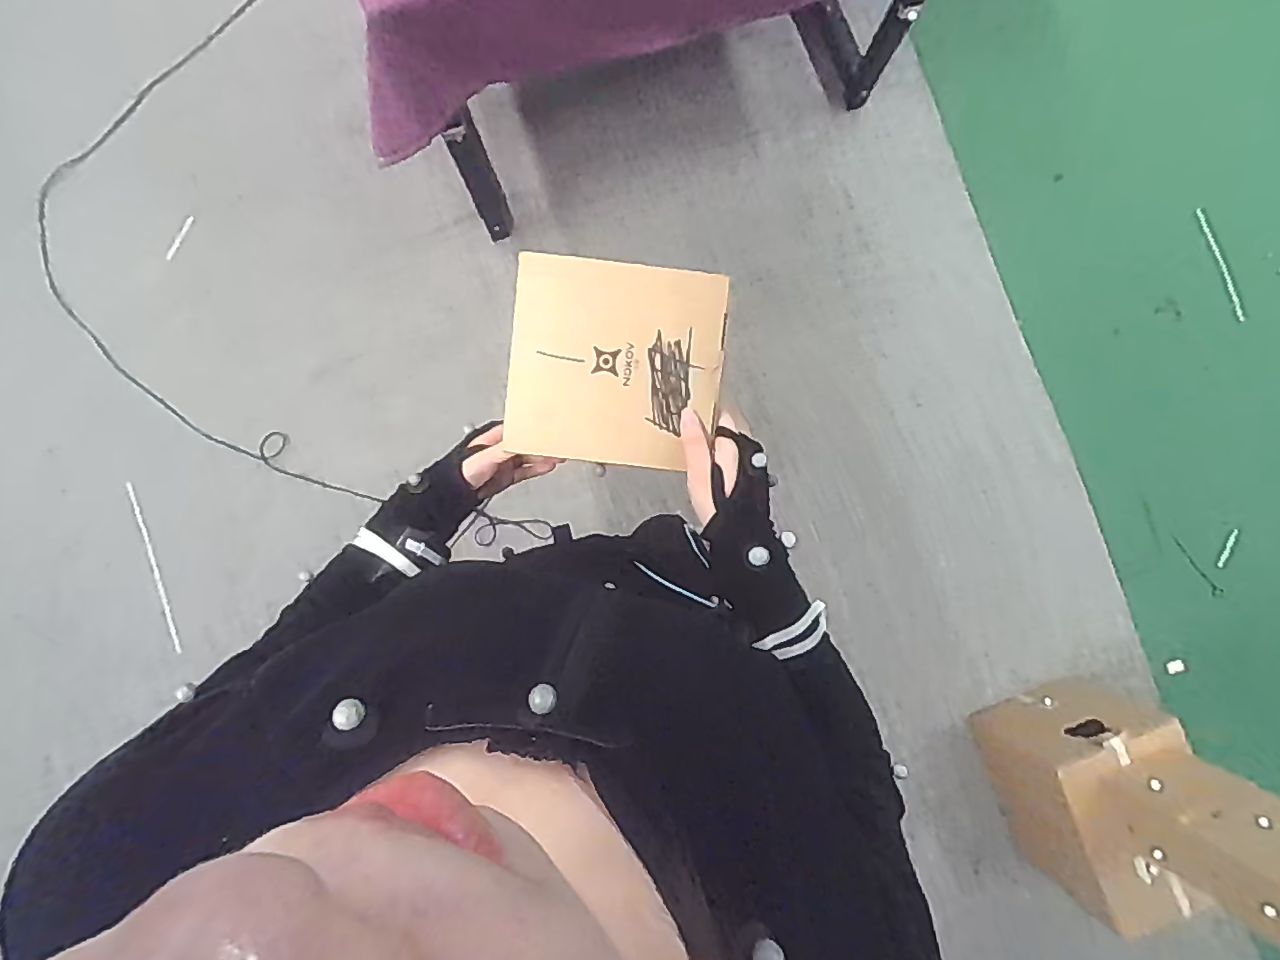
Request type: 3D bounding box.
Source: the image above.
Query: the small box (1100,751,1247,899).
[{"bbox_3d":[1.111,0.701,1.119,0.179,0.176,0.168,-21,88,-4],"label":"small box"}]

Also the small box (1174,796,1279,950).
[{"bbox_3d":[1.120,0.699,0.956,0.168,0.176,0.179,-25,89,-3],"label":"small box"}]

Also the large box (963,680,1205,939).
[{"bbox_3d":[1.108,0.787,1.359,0.320,0.320,0.408,-19,88,-3],"label":"large box"}]

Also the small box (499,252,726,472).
[{"bbox_3d":[-0.025,-0.102,0.527,0.179,0.176,0.168,6,93,-1],"label":"small box"}]
